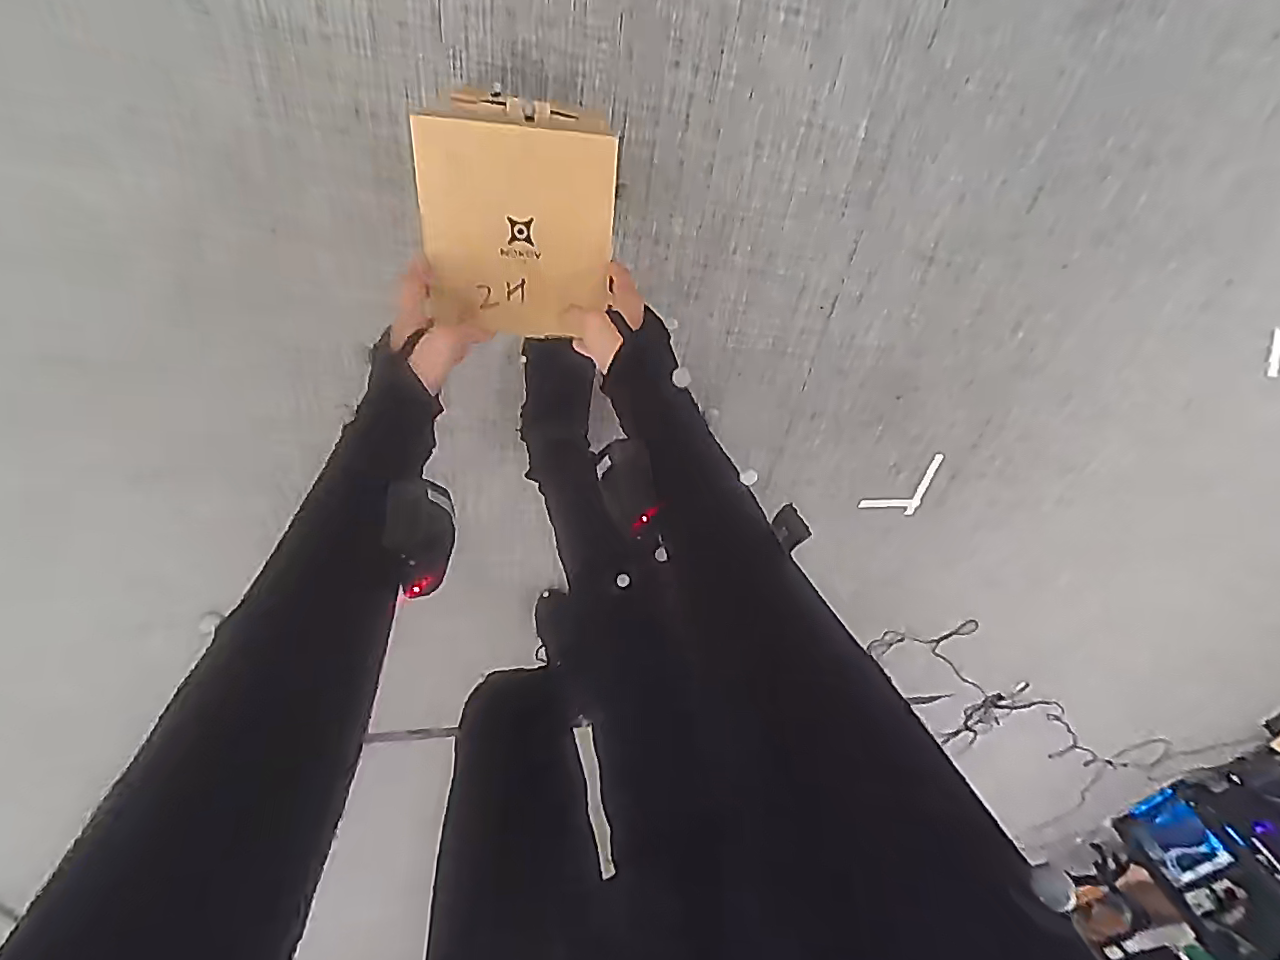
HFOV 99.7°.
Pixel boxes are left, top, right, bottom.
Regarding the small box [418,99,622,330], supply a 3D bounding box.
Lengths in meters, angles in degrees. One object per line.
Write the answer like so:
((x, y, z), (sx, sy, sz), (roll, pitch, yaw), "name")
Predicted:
((-0.114, -0.268, 0.547), (0.168, 0.176, 0.179), (1, 124, -9), "small box")

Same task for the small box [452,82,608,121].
((-0.140, -0.378, 0.678), (0.168, 0.176, 0.179), (3, 126, -12), "small box")
